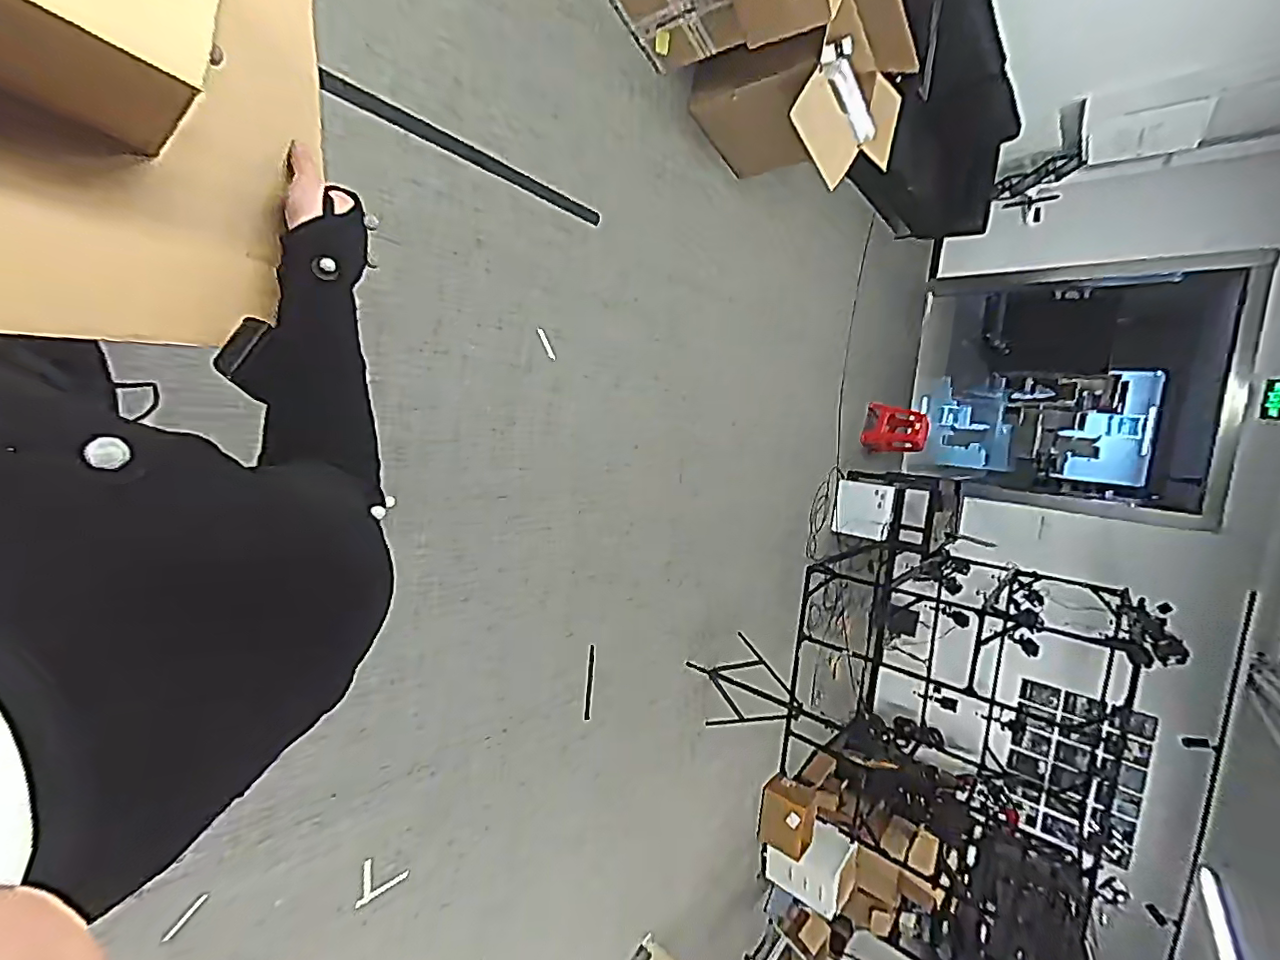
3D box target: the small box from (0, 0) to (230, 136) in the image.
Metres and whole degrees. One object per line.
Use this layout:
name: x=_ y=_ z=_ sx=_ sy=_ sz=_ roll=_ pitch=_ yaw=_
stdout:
small box: x=-0.380 y=-0.352 z=0.340 sx=0.179 sy=0.176 sz=0.168 roll=9 pitch=91 yaw=-49
